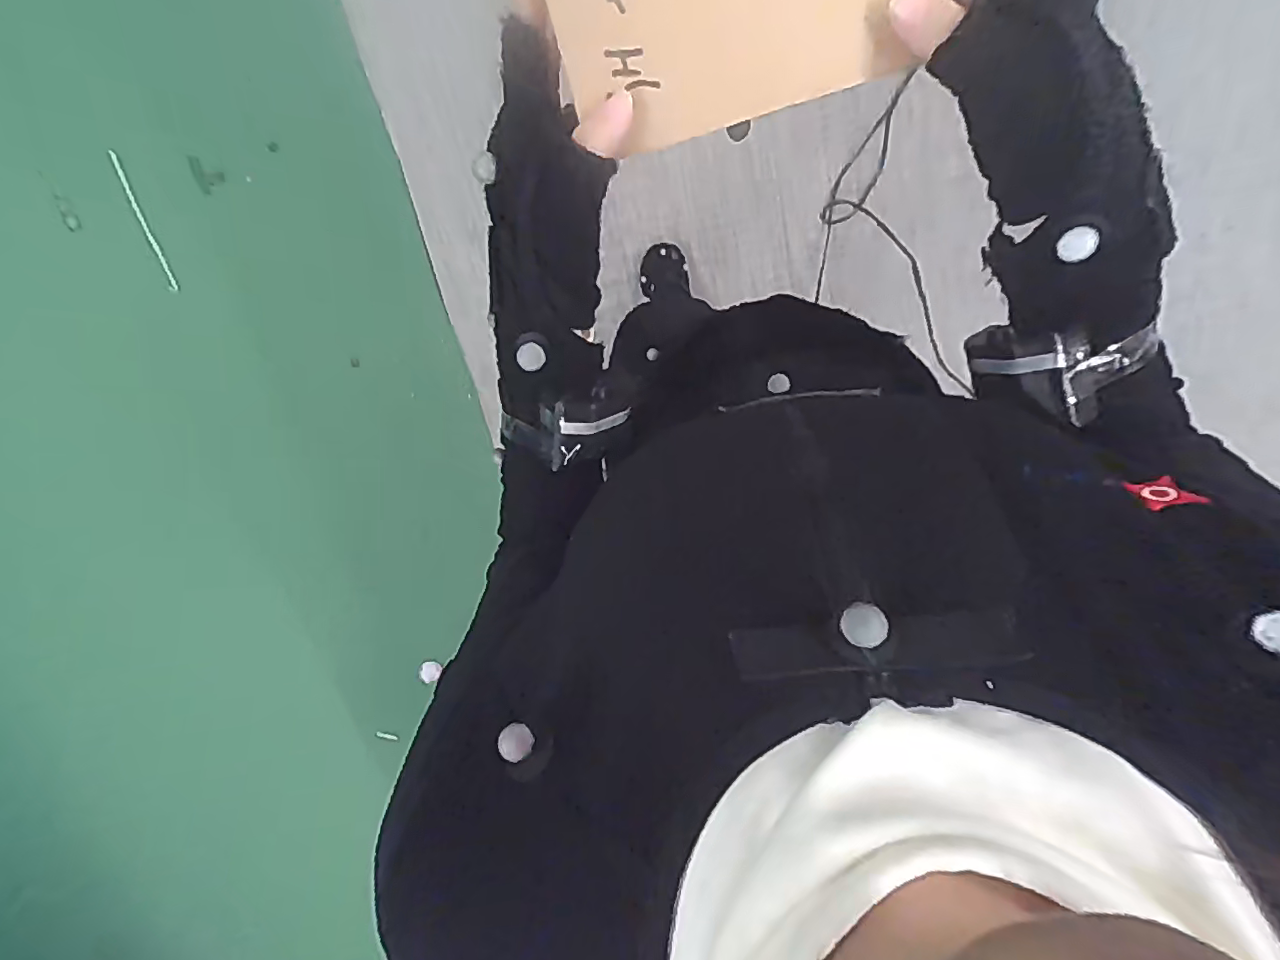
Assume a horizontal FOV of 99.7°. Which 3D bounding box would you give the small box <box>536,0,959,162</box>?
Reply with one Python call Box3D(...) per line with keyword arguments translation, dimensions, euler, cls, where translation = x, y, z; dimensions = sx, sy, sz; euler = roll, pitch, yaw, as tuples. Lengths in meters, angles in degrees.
Box3D(translation=(0.034, -0.279, 0.269), dimensions=(0.179, 0.176, 0.168), euler=(-12, 124, 8), cls="small box")
